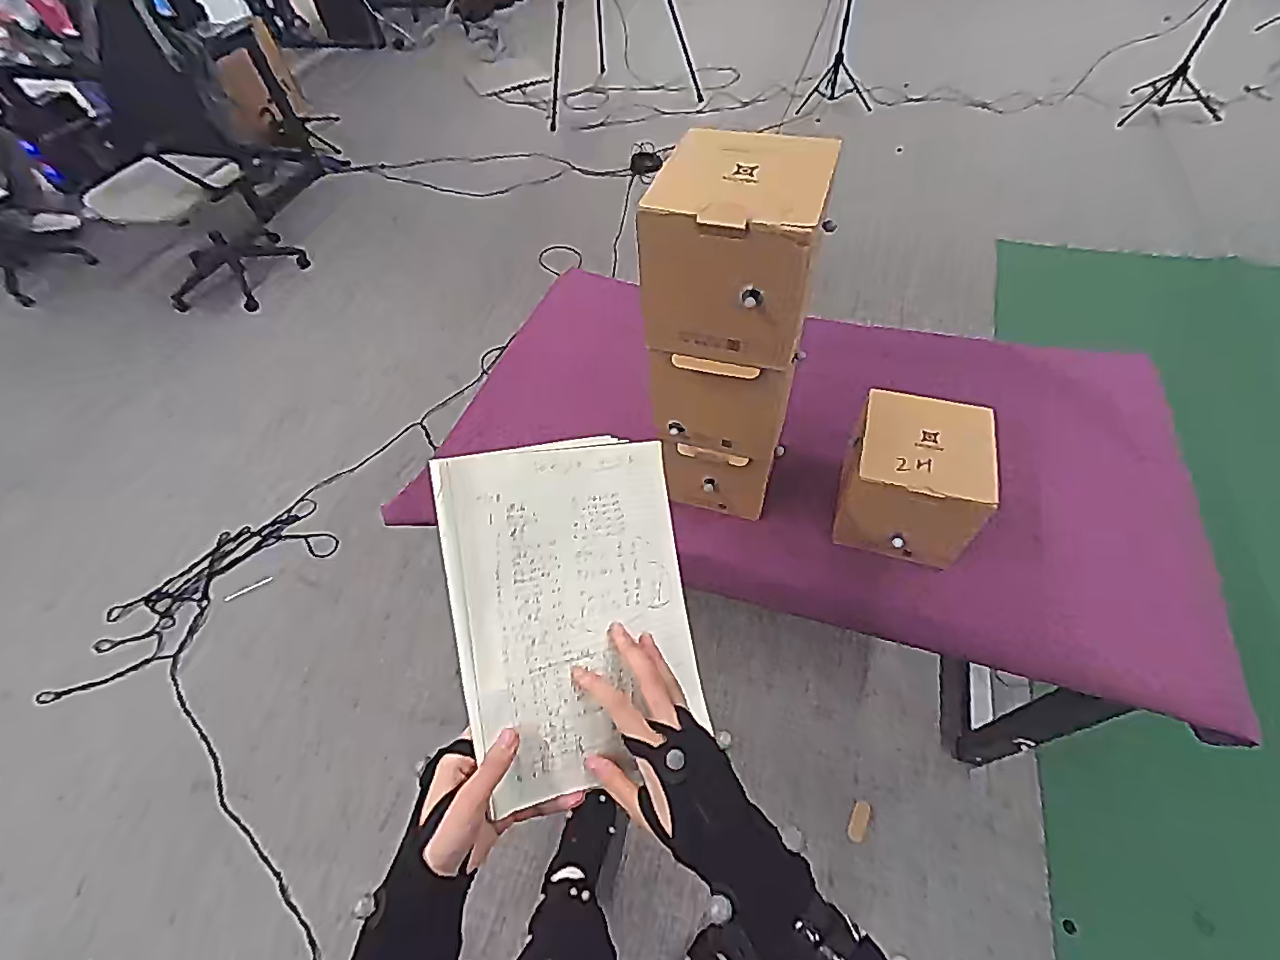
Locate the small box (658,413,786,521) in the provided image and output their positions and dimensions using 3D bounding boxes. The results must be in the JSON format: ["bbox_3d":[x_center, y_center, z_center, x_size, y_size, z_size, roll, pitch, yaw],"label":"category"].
[{"bbox_3d":[0.136,-0.059,0.867,0.168,0.176,0.179,14,57,14],"label":"small box"}]

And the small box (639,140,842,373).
[{"bbox_3d":[0.109,-0.243,0.597,0.168,0.176,0.179,15,56,14],"label":"small box"}]

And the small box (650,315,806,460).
[{"bbox_3d":[0.123,-0.151,0.731,0.168,0.176,0.179,14,55,15],"label":"small box"}]
